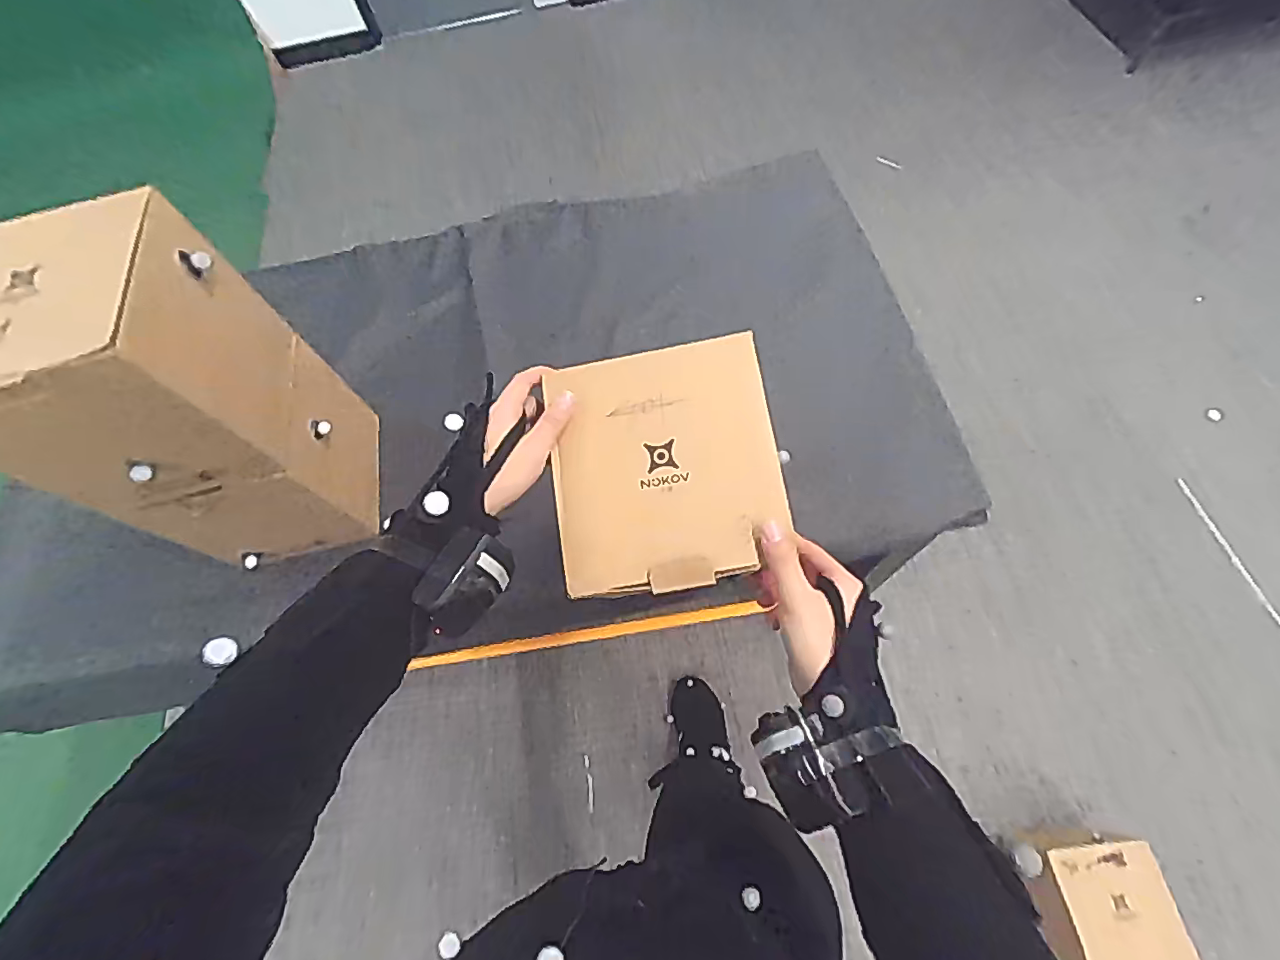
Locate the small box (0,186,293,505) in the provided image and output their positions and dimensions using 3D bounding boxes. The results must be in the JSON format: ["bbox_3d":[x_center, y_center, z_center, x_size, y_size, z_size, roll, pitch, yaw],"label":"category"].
[{"bbox_3d":[-0.427,-0.103,0.459,0.168,0.176,0.179,-16,64,-1],"label":"small box"}]

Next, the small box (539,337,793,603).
[{"bbox_3d":[0.023,0.005,0.468,0.168,0.176,0.179,-10,77,4],"label":"small box"}]

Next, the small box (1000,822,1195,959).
[{"bbox_3d":[0.769,0.712,0.932,0.168,0.176,0.179,-8,65,2],"label":"small box"}]

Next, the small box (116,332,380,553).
[{"bbox_3d":[-0.412,-0.030,0.605,0.168,0.176,0.179,-13,62,-1],"label":"small box"}]
